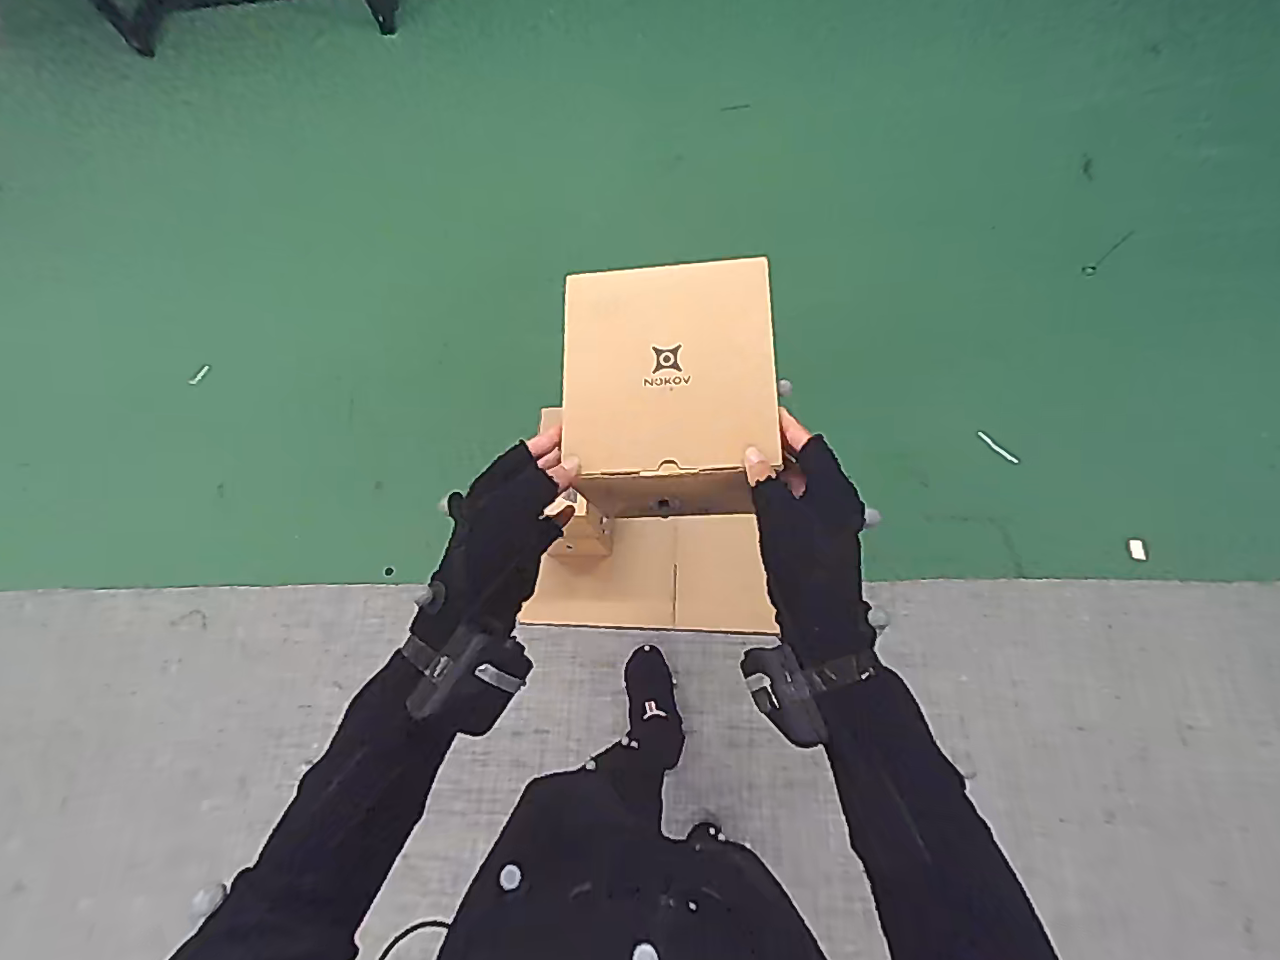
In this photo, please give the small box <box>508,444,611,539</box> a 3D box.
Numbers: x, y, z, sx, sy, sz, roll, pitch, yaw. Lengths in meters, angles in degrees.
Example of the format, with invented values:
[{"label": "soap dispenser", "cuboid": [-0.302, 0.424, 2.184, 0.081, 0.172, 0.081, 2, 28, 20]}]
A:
[{"label": "small box", "cuboid": [-0.169, 0.031, 1.202, 0.179, 0.176, 0.168, 2, 70, 10]}]
